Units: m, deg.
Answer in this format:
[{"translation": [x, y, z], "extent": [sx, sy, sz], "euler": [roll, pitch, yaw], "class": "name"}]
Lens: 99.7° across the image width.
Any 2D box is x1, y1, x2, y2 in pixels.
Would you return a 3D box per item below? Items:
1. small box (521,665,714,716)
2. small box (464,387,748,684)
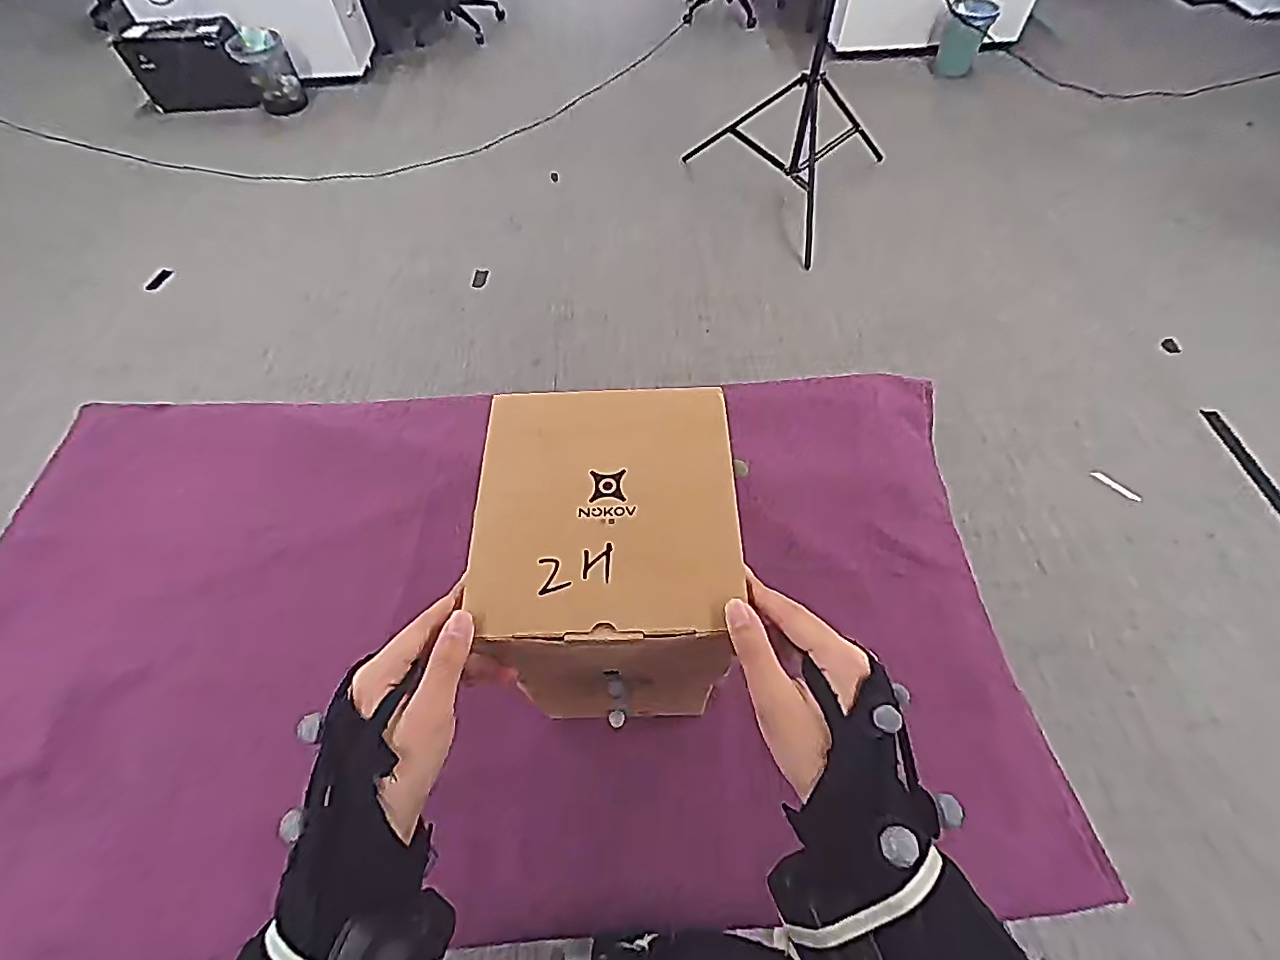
[{"translation": [-0.018, 0.137, 0.562], "extent": [0.168, 0.176, 0.179], "euler": [-2, 58, 1], "class": "small box"}, {"translation": [-0.017, 0.049, 0.417], "extent": [0.168, 0.176, 0.179], "euler": [-2, 59, 2], "class": "small box"}]
